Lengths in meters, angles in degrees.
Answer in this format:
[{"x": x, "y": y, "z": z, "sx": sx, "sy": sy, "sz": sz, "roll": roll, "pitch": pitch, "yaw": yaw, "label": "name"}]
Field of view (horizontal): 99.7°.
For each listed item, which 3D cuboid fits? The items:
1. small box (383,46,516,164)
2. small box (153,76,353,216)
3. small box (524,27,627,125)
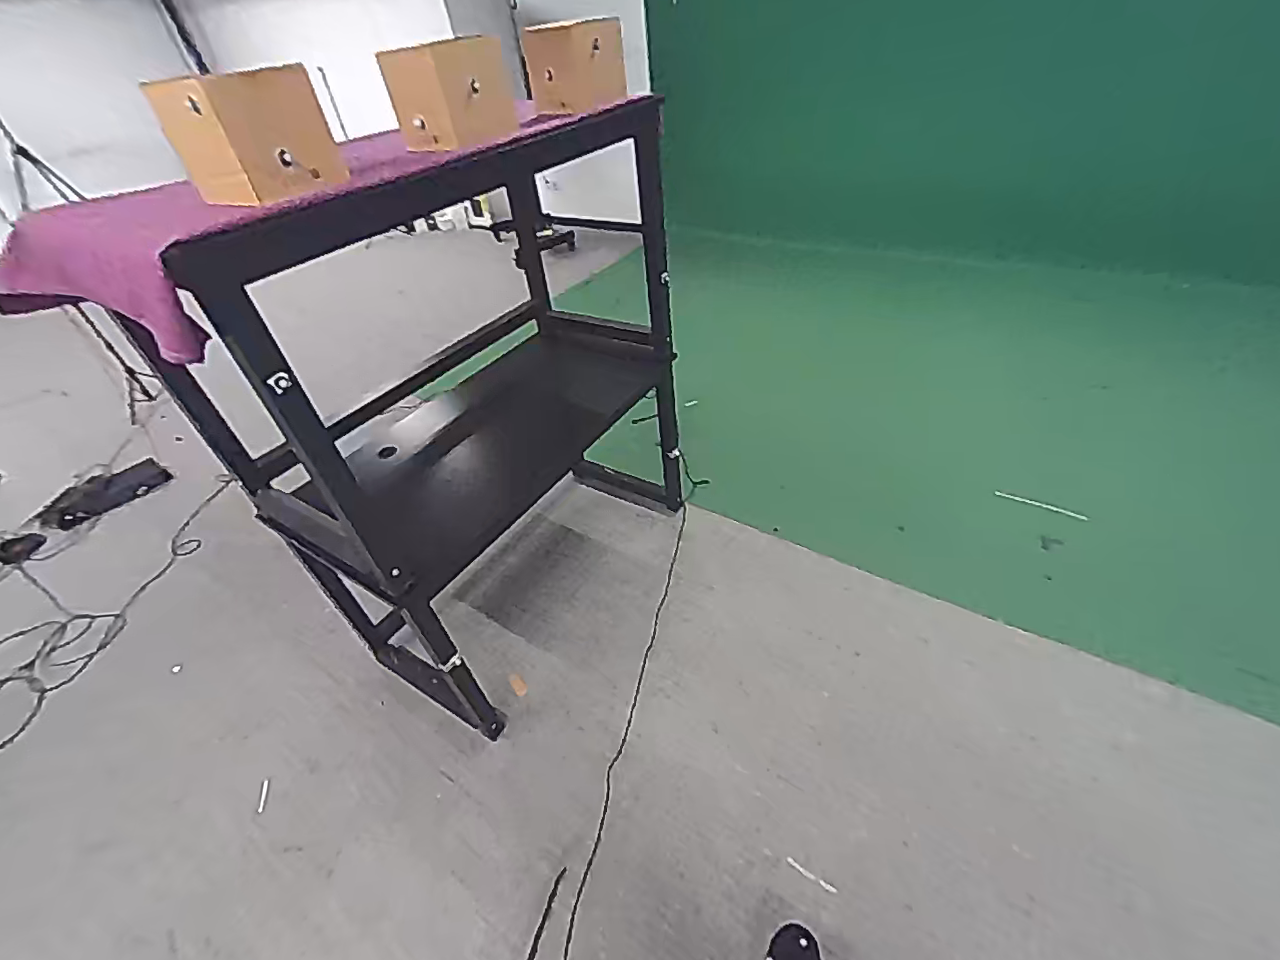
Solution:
[{"x": -0.373, "y": -0.759, "z": 1.098, "sx": 0.168, "sy": 0.176, "sz": 0.179, "roll": 19, "pitch": 48, "yaw": 30, "label": "small box"}, {"x": -0.616, "y": -0.539, "z": 0.879, "sx": 0.179, "sy": 0.176, "sz": 0.168, "roll": 16, "pitch": 45, "yaw": 26, "label": "small box"}, {"x": -0.148, "y": -0.984, "z": 1.323, "sx": 0.168, "sy": 0.176, "sz": 0.179, "roll": 24, "pitch": 51, "yaw": 31, "label": "small box"}]
